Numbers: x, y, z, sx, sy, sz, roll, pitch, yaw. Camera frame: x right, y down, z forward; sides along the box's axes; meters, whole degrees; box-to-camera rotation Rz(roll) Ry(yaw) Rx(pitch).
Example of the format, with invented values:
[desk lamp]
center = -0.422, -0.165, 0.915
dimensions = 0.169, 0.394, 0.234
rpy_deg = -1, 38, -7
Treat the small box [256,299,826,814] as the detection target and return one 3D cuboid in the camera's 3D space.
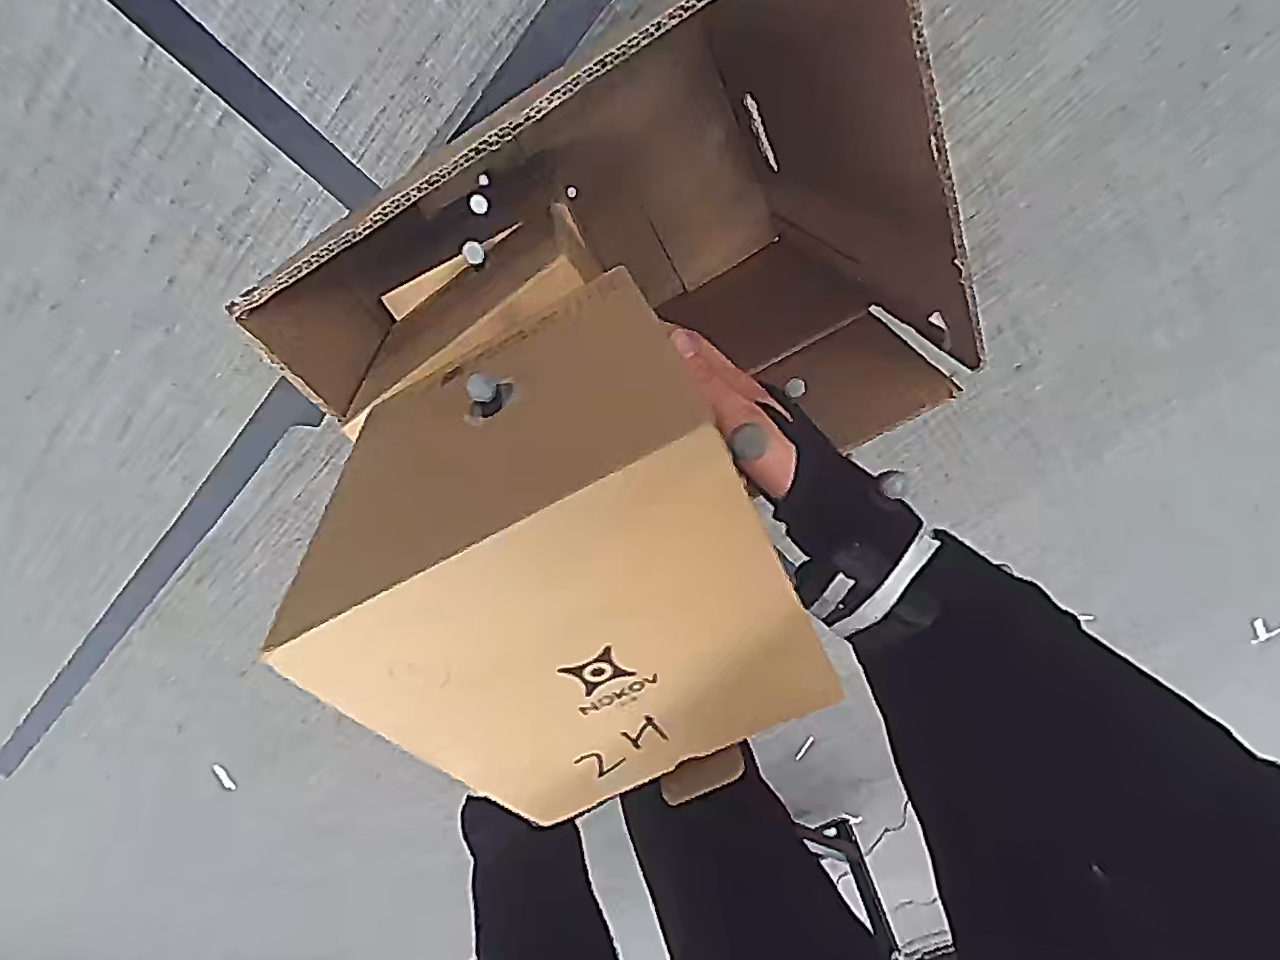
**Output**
[small box]
center = -0.034, 0.029, 0.279
dimensions = 0.168, 0.176, 0.179
rpy_deg = -27, 127, 8
